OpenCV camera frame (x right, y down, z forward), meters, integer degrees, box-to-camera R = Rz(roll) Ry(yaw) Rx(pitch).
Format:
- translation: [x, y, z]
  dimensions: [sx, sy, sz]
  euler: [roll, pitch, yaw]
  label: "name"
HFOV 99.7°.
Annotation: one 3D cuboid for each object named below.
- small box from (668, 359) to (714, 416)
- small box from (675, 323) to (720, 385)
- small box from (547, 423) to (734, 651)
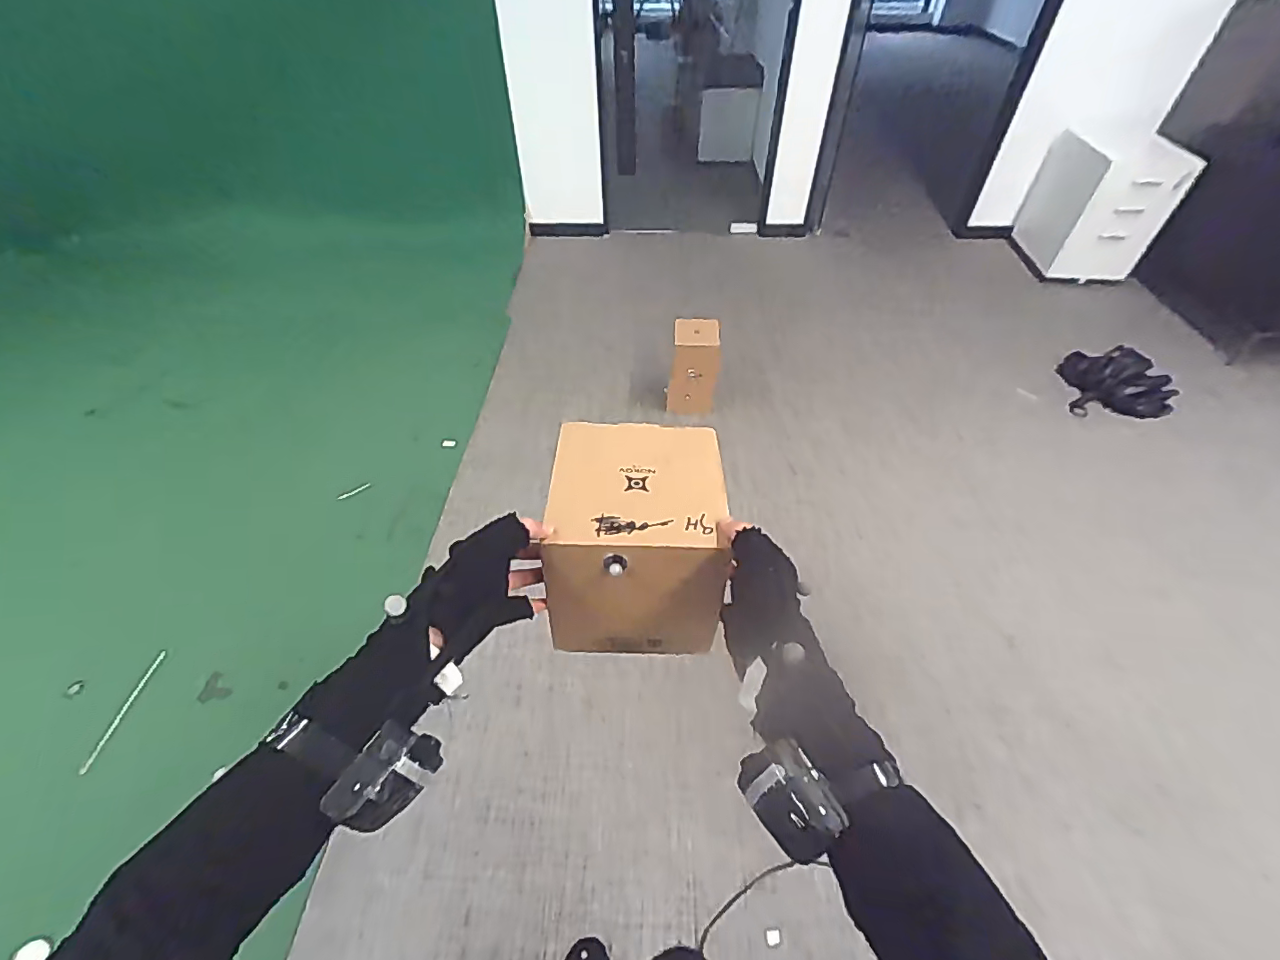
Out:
- translation: [0.208, -0.375, 2.215]
  dimensions: [0.179, 0.176, 0.168]
  euler: [2, 47, 4]
  label: "small box"
- translation: [0.222, -0.490, 2.102]
  dimensions: [0.168, 0.176, 0.179]
  euler: [1, 48, 3]
  label: "small box"
- translation: [-0.001, 0.058, 0.579]
  dimensions: [0.168, 0.176, 0.179]
  euler: [2, 40, 0]
  label: "small box"
